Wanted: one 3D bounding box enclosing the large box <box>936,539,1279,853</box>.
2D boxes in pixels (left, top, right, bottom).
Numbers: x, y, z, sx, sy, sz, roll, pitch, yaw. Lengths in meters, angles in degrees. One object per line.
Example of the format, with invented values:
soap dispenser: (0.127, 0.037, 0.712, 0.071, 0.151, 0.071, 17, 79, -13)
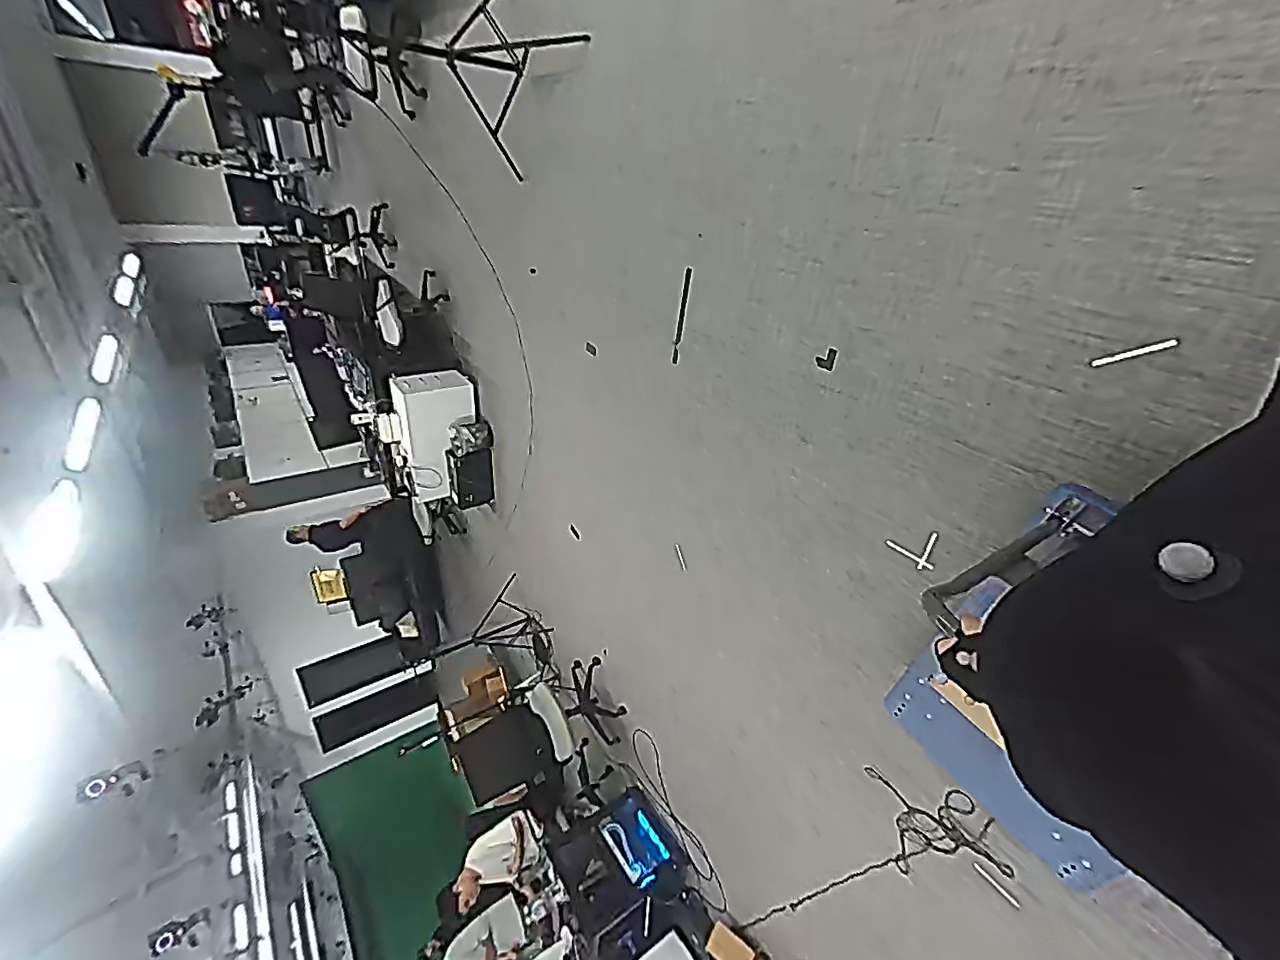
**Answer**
large box: (0.897, 0.384, 1.042, 0.408, 0.320, 0.320, 46, 137, 37)
